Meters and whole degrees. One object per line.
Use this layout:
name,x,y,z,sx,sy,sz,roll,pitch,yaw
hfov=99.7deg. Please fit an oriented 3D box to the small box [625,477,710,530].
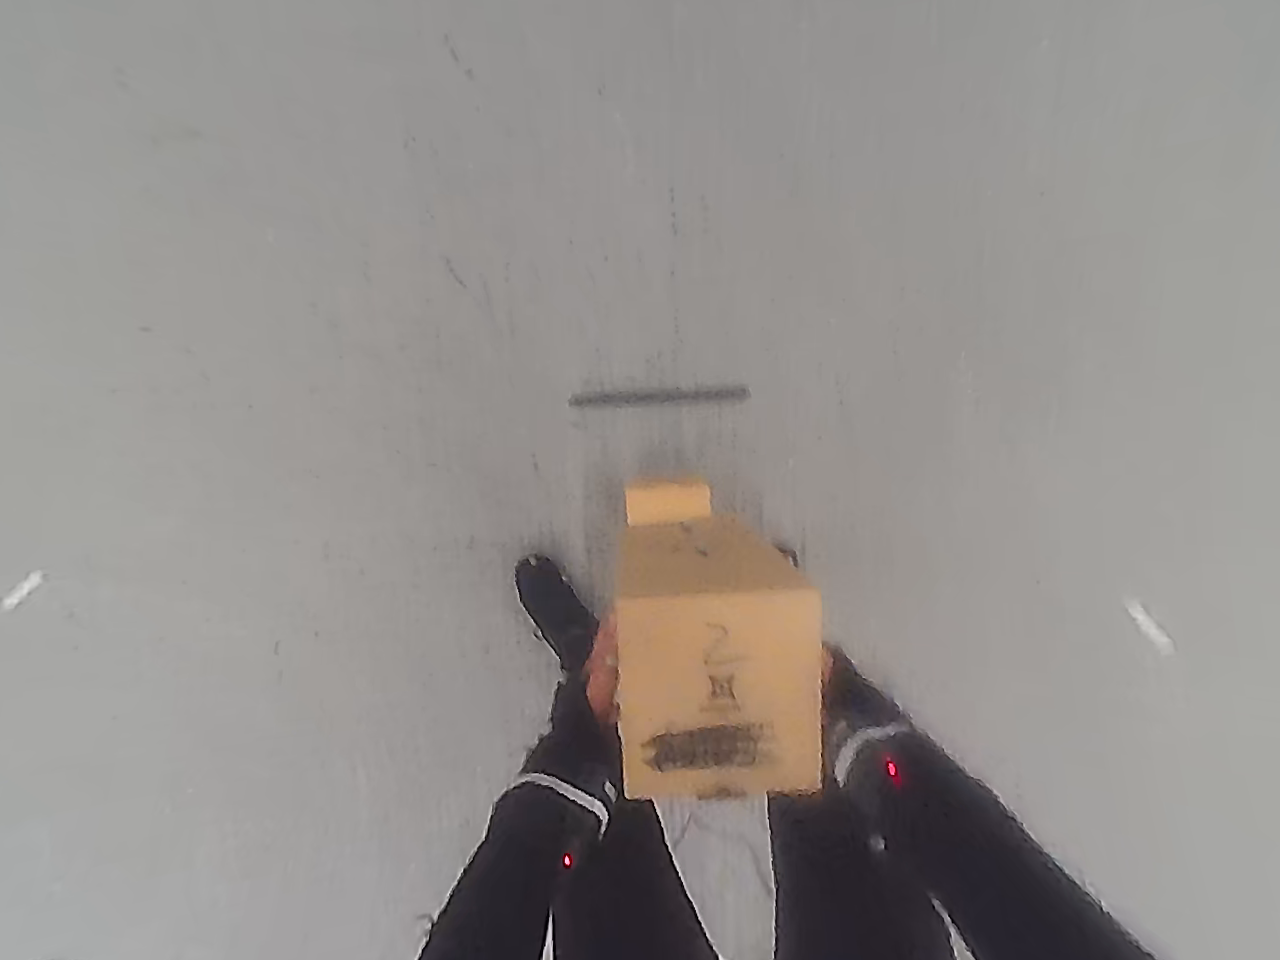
small box,0.059,0.093,1.130,0.168,0.176,0.179,-3,97,2
